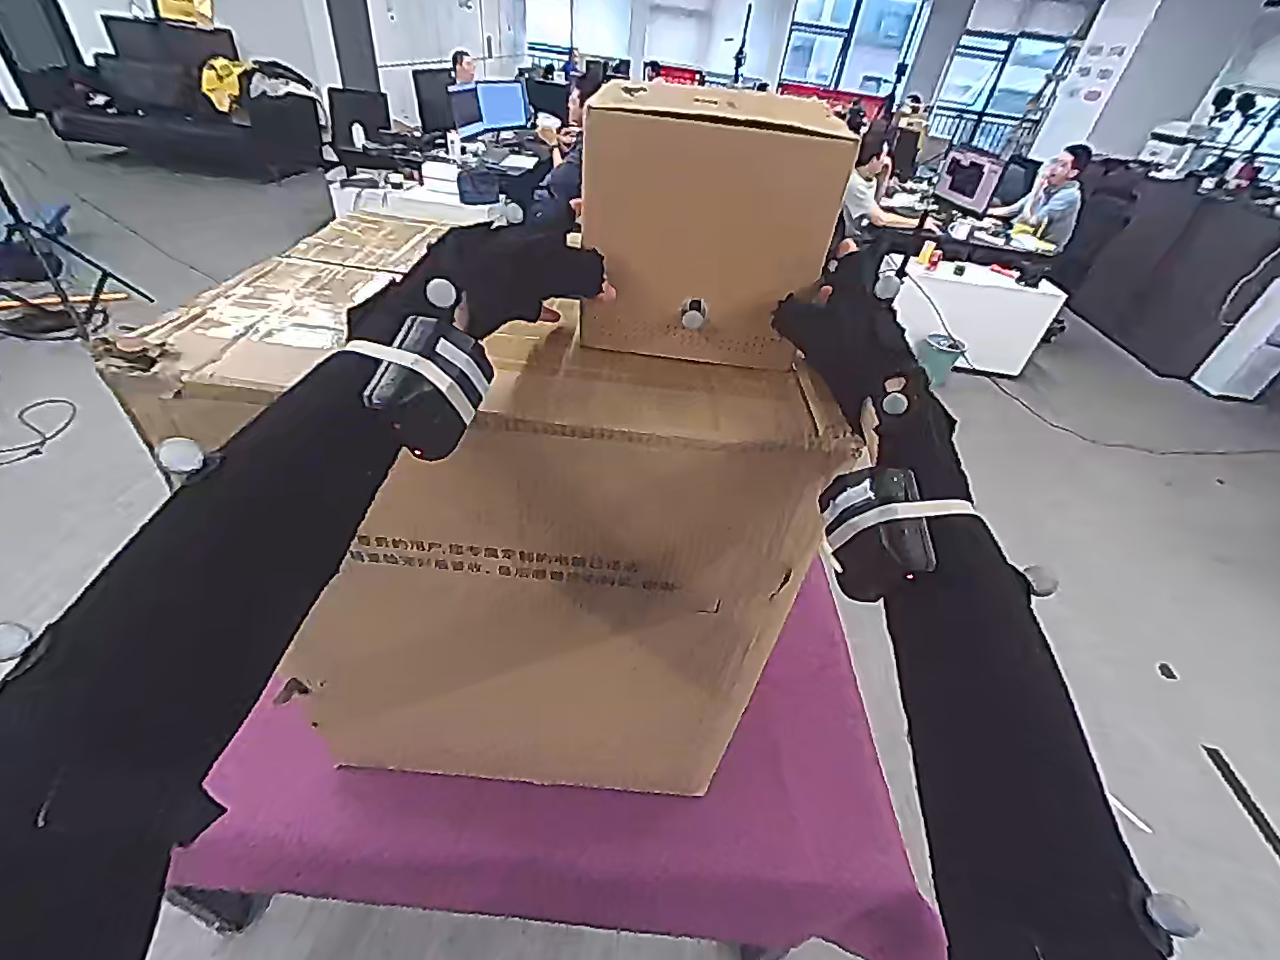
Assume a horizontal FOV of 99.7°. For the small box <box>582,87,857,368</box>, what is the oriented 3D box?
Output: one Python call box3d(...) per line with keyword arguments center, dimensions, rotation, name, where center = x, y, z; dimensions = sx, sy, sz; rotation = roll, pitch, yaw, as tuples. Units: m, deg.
box3d(center=(0.051, -0.211, 0.456), dimensions=(0.179, 0.176, 0.168), rotation=(7, 39, -1), name="small box")
